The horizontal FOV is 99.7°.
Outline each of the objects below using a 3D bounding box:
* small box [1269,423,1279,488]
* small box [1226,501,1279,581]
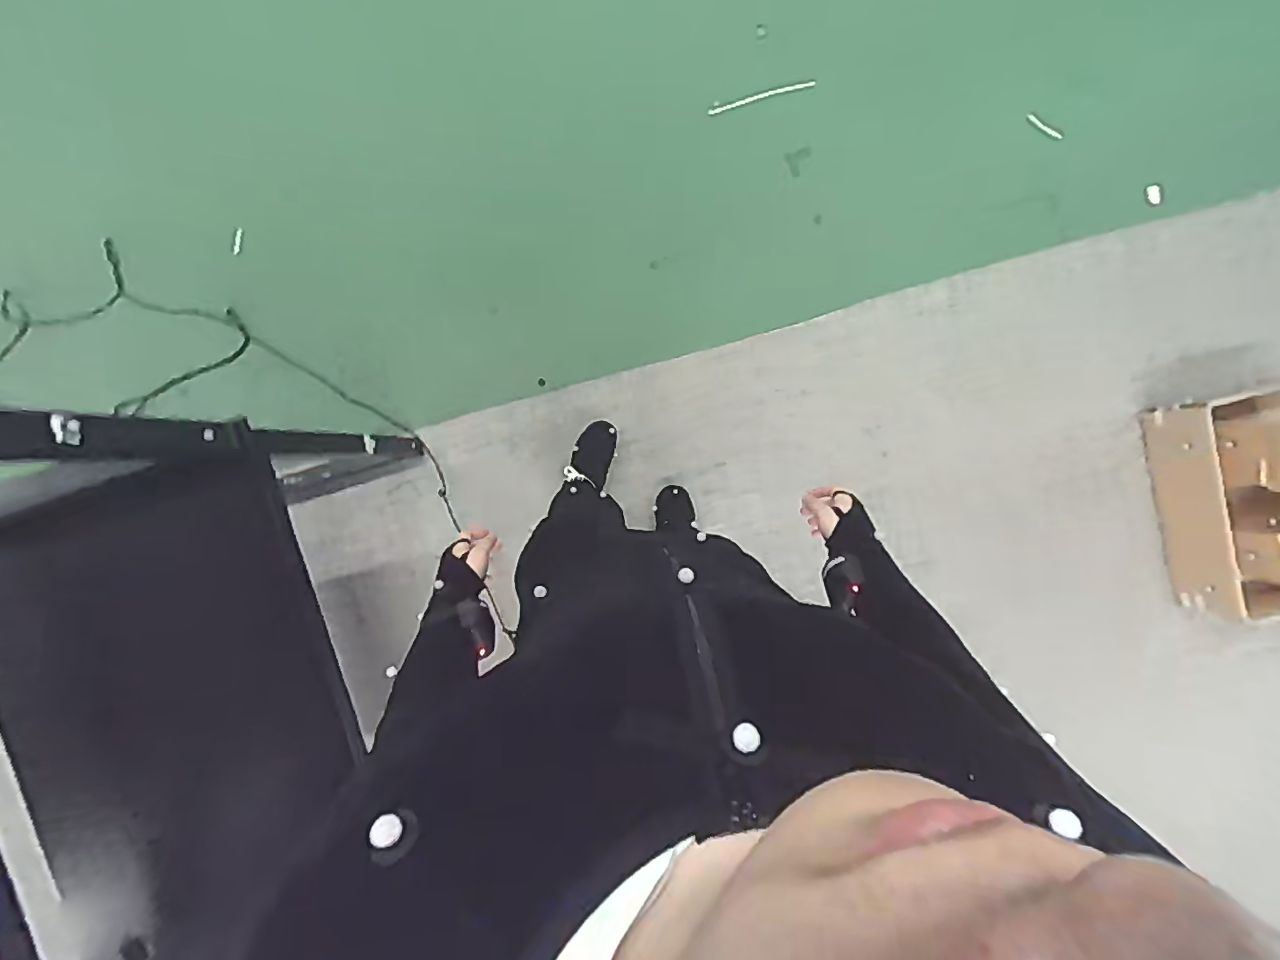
[{"bbox_3d":[1.685,-0.067,1.297,0.168,0.176,0.179,-10,94,1],"label":"small box"},{"bbox_3d":[1.771,0.170,1.471,0.179,0.176,0.168,-31,91,2],"label":"small box"}]
